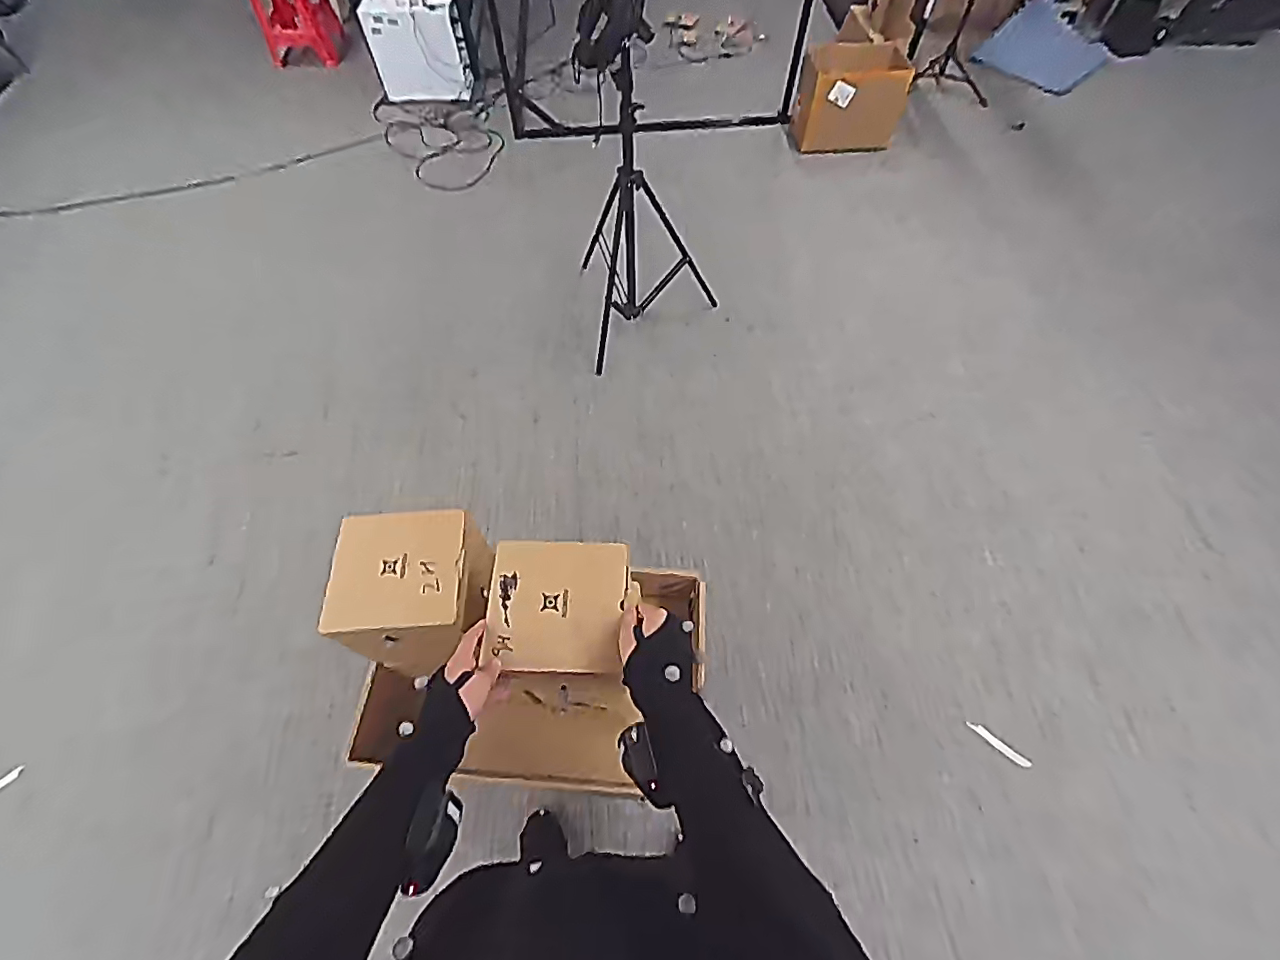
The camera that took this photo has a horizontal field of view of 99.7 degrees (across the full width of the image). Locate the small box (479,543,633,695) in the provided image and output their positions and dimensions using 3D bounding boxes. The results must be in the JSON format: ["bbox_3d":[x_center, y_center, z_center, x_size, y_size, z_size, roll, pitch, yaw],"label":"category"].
[{"bbox_3d":[-0.101,0.196,0.740,0.179,0.176,0.168,2,62,0],"label":"small box"}]

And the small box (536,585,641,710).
[{"bbox_3d":[-0.091,0.277,0.909,0.168,0.176,0.179,6,59,6],"label":"small box"}]
